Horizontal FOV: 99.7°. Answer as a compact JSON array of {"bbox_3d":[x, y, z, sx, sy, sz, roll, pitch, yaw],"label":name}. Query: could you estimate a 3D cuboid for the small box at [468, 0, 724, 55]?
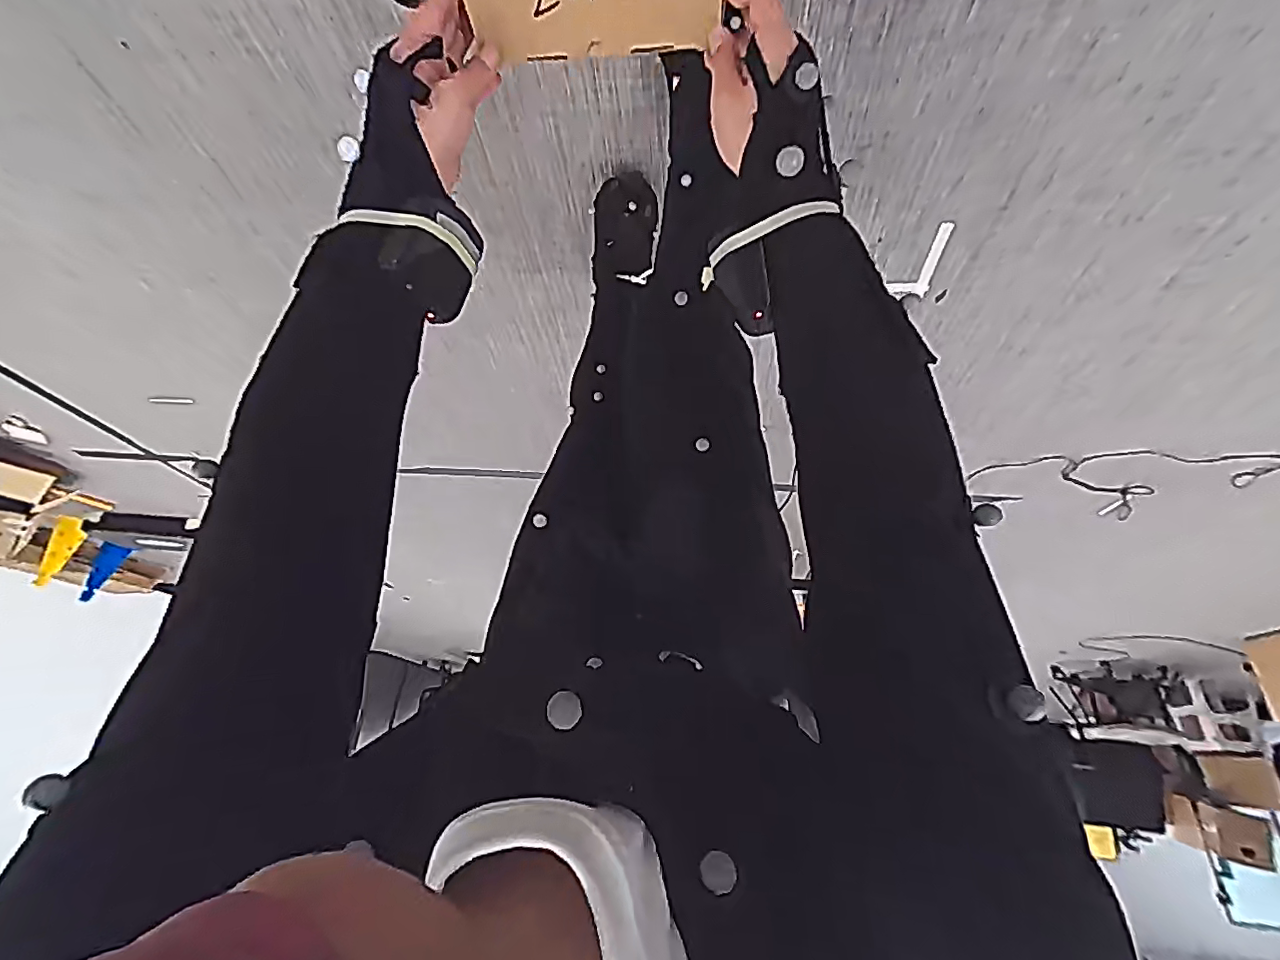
[{"bbox_3d":[-0.028,-0.405,0.331,0.168,0.176,0.179,3,151,8],"label":"small box"}]
